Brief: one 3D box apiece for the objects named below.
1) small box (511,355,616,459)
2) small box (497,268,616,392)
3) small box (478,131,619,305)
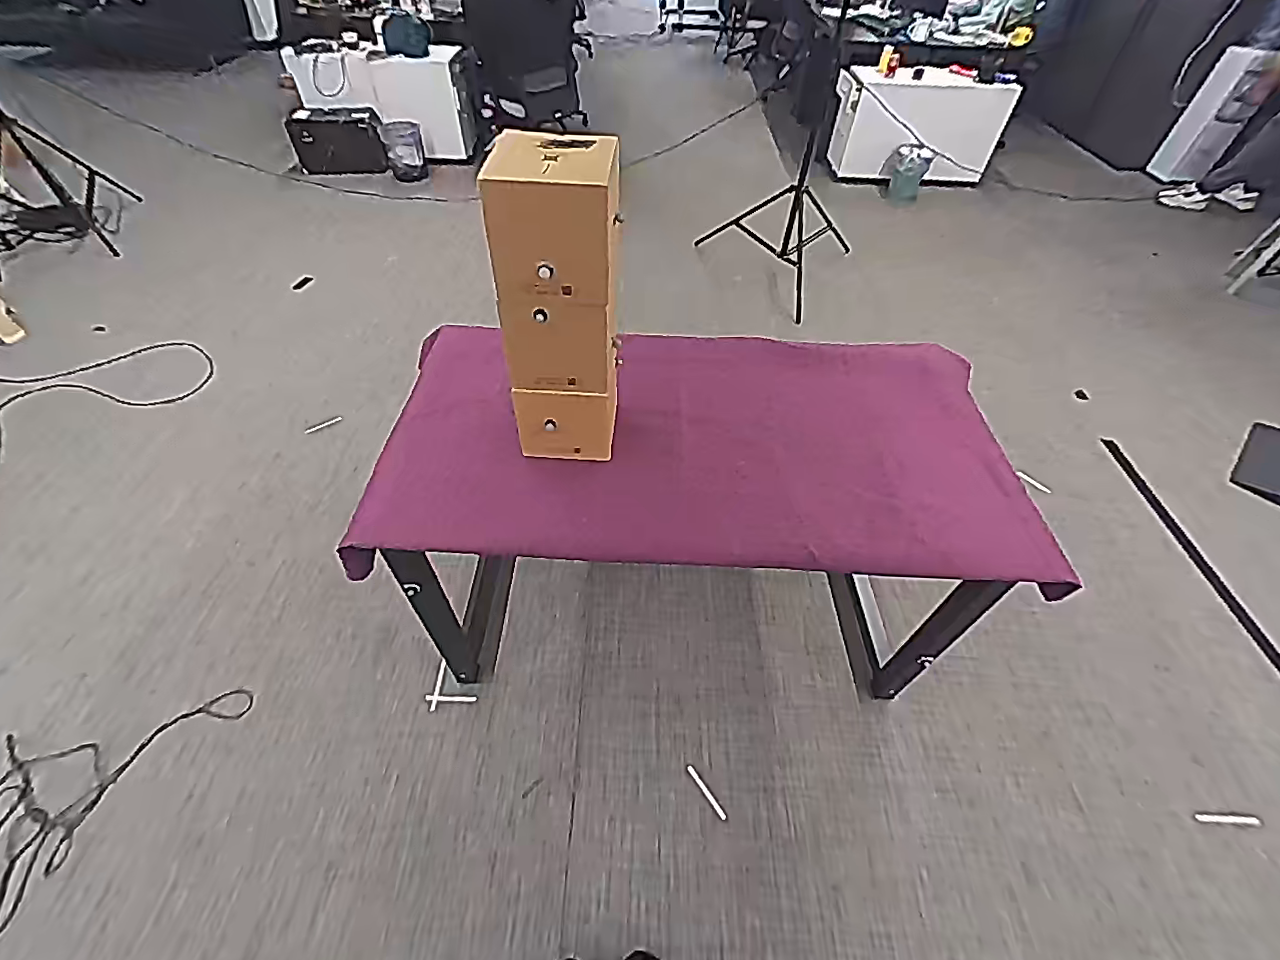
[{"bbox_3d":[-0.134,-0.157,1.025,0.168,0.176,0.179,3,49,0],"label":"small box"},{"bbox_3d":[-0.129,-0.270,0.905,0.168,0.176,0.179,2,48,0],"label":"small box"},{"bbox_3d":[-0.119,-0.376,0.780,0.168,0.176,0.179,3,49,0],"label":"small box"}]
